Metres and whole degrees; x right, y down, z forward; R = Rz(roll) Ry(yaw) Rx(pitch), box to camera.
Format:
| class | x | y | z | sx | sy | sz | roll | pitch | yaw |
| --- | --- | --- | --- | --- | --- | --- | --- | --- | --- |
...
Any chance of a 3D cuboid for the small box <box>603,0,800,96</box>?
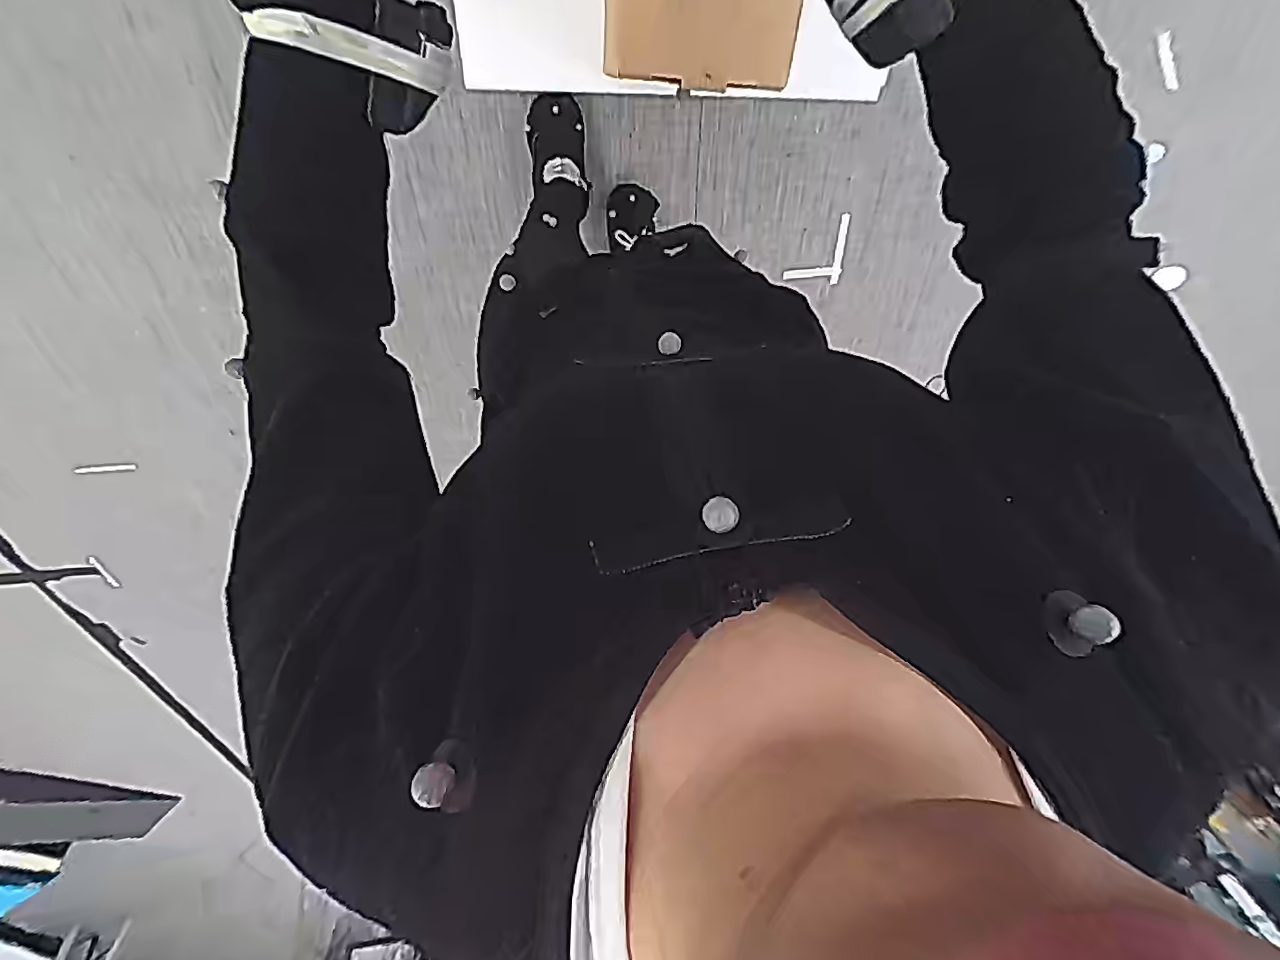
| class | x | y | z | sx | sy | sz | roll | pitch | yaw |
| --- | --- | --- | --- | --- | --- | --- | --- | --- | --- |
| small box | 0.054 | -0.491 | 0.523 | 0.168 | 0.176 | 0.179 | -2 | 128 | -9 |
